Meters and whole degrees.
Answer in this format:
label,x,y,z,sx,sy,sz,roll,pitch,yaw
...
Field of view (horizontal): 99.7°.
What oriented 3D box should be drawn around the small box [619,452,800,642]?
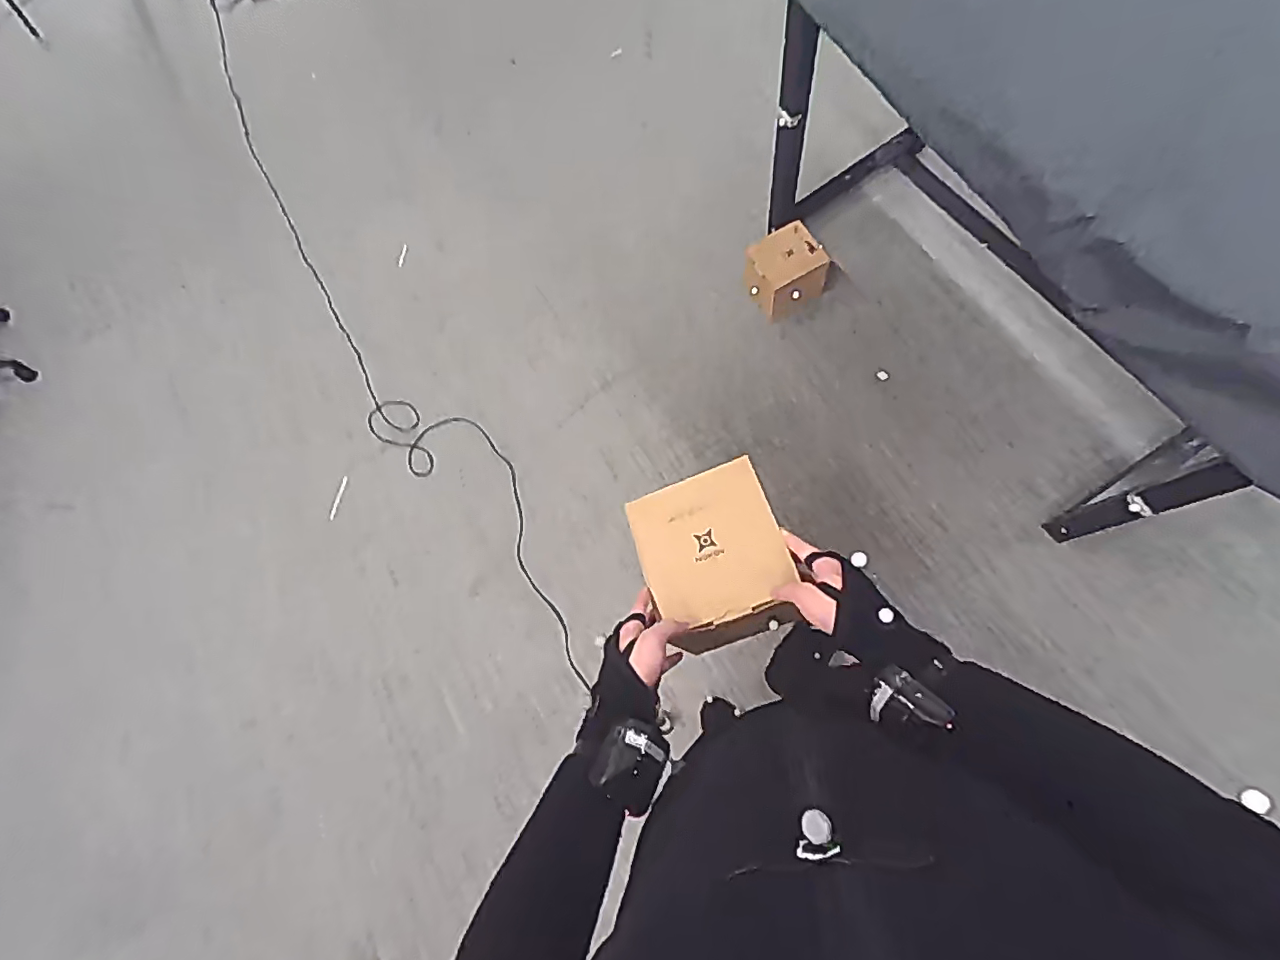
label,x,y,z,sx,sy,sz,roll,pitch,yaw
small box,0.094,0.097,0.691,0.168,0.176,0.179,-22,61,9
